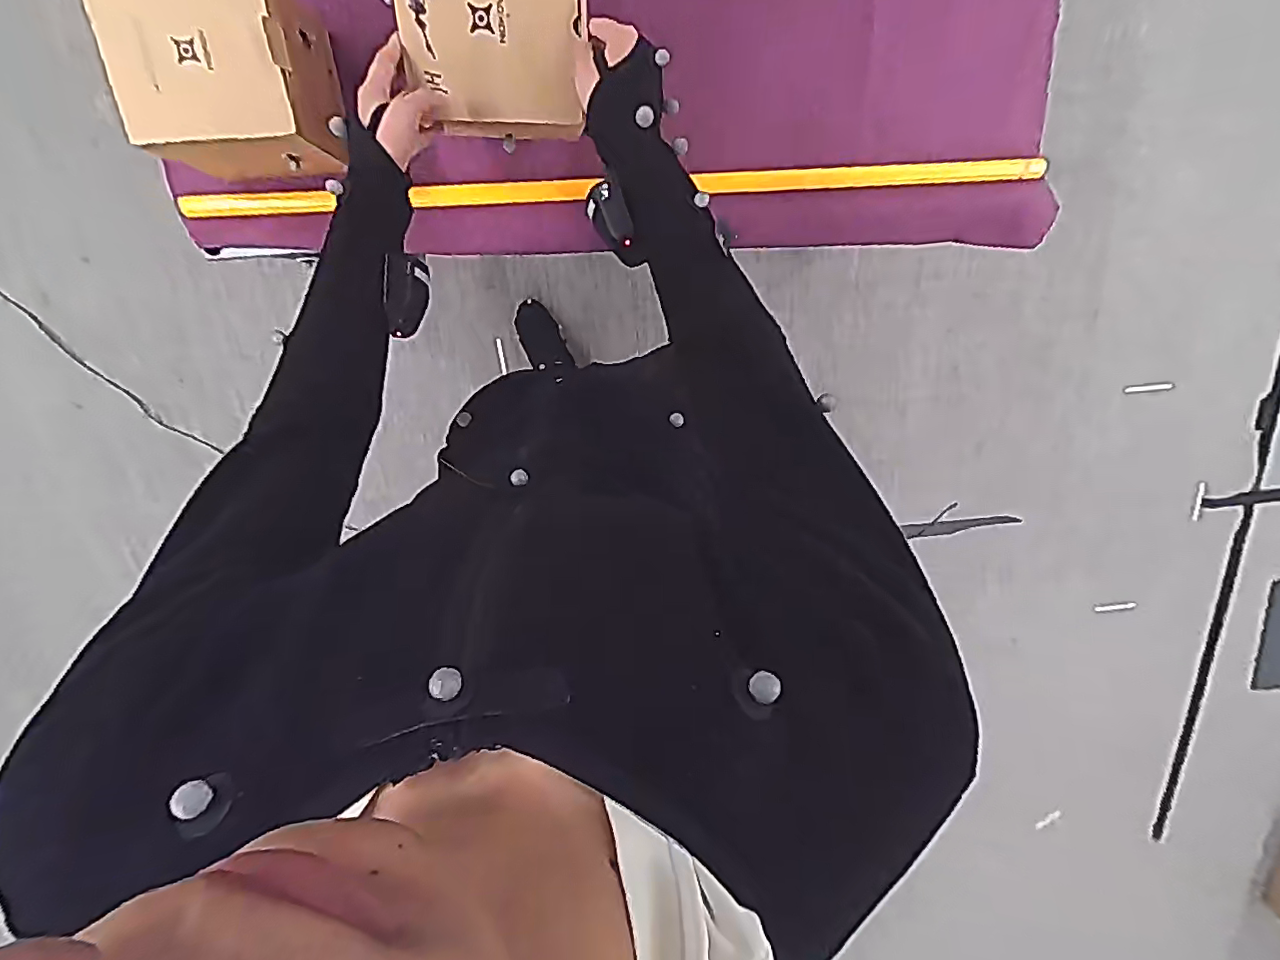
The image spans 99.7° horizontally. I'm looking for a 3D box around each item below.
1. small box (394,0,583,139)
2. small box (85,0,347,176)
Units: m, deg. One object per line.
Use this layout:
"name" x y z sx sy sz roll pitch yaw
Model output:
"small box" -0.155 -0.478 0.588 0.179 0.176 0.168 -2 117 -8
"small box" -0.469 -0.468 0.631 0.179 0.176 0.168 -7 108 -5
